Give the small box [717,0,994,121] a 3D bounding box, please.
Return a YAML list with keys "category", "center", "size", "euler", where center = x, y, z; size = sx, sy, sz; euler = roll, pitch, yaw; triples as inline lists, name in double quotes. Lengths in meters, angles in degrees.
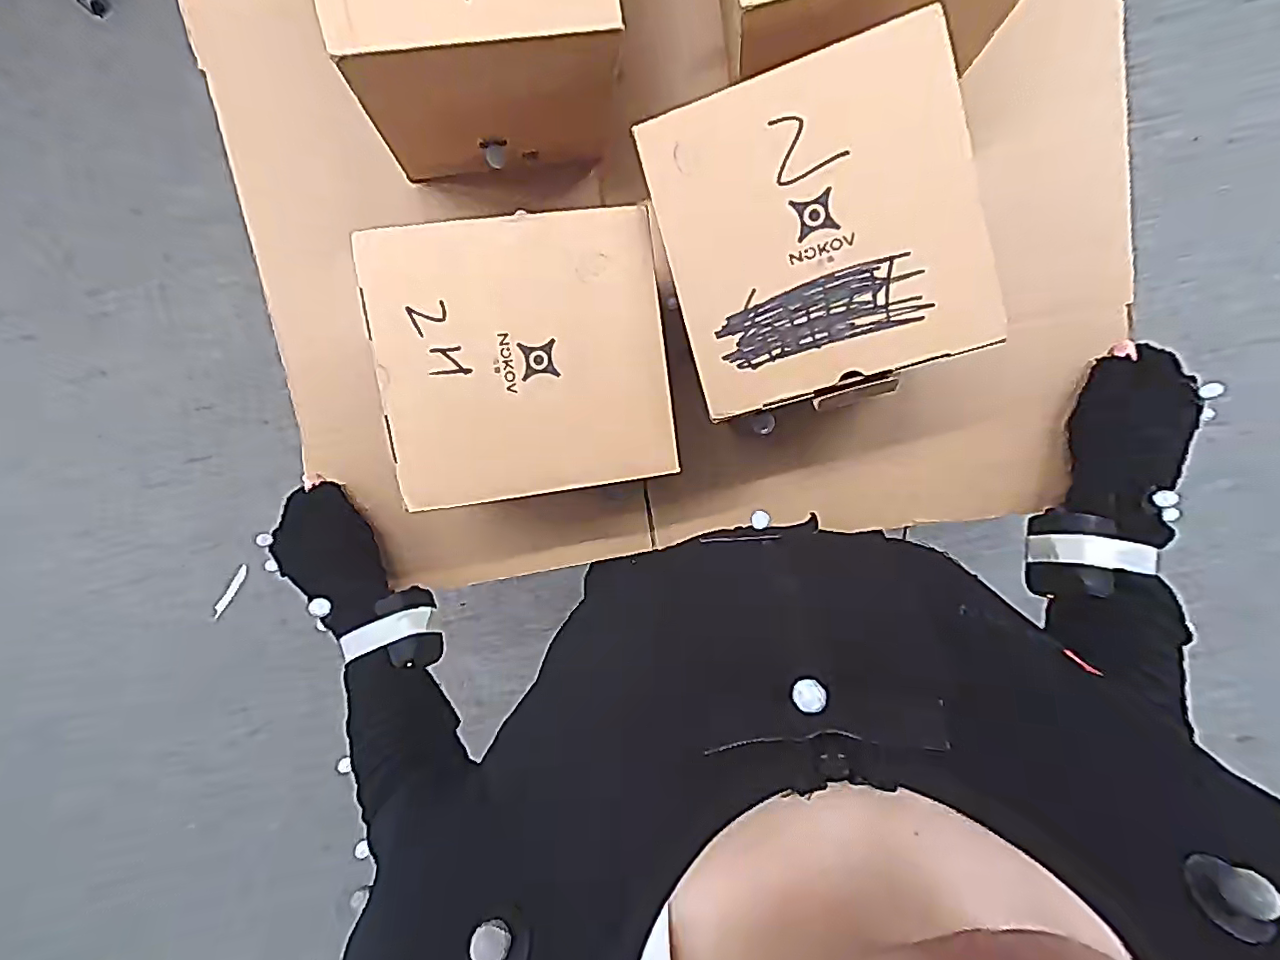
- category: "small box"
  center: [0.130, -0.360, 0.340]
  size: [0.168, 0.176, 0.179]
  euler: [-6, 98, 11]
